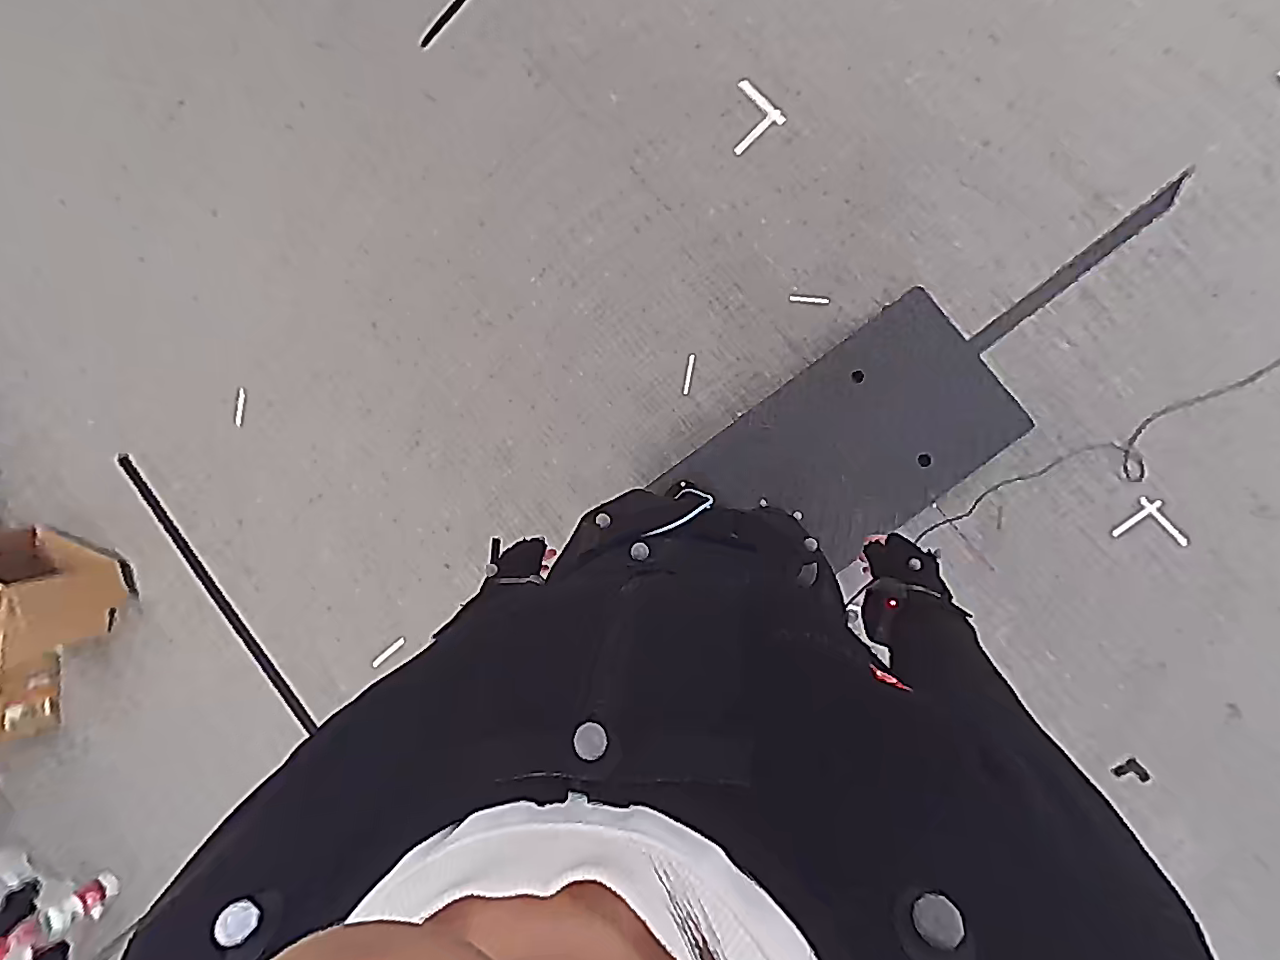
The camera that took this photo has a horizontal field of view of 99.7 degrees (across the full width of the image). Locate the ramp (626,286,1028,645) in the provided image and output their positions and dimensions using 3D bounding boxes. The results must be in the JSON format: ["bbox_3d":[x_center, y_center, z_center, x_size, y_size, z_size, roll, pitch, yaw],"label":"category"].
[{"bbox_3d":[0.496,-0.052,1.457,0.991,0.206,0.509,-39,84,9],"label":"ramp"}]
